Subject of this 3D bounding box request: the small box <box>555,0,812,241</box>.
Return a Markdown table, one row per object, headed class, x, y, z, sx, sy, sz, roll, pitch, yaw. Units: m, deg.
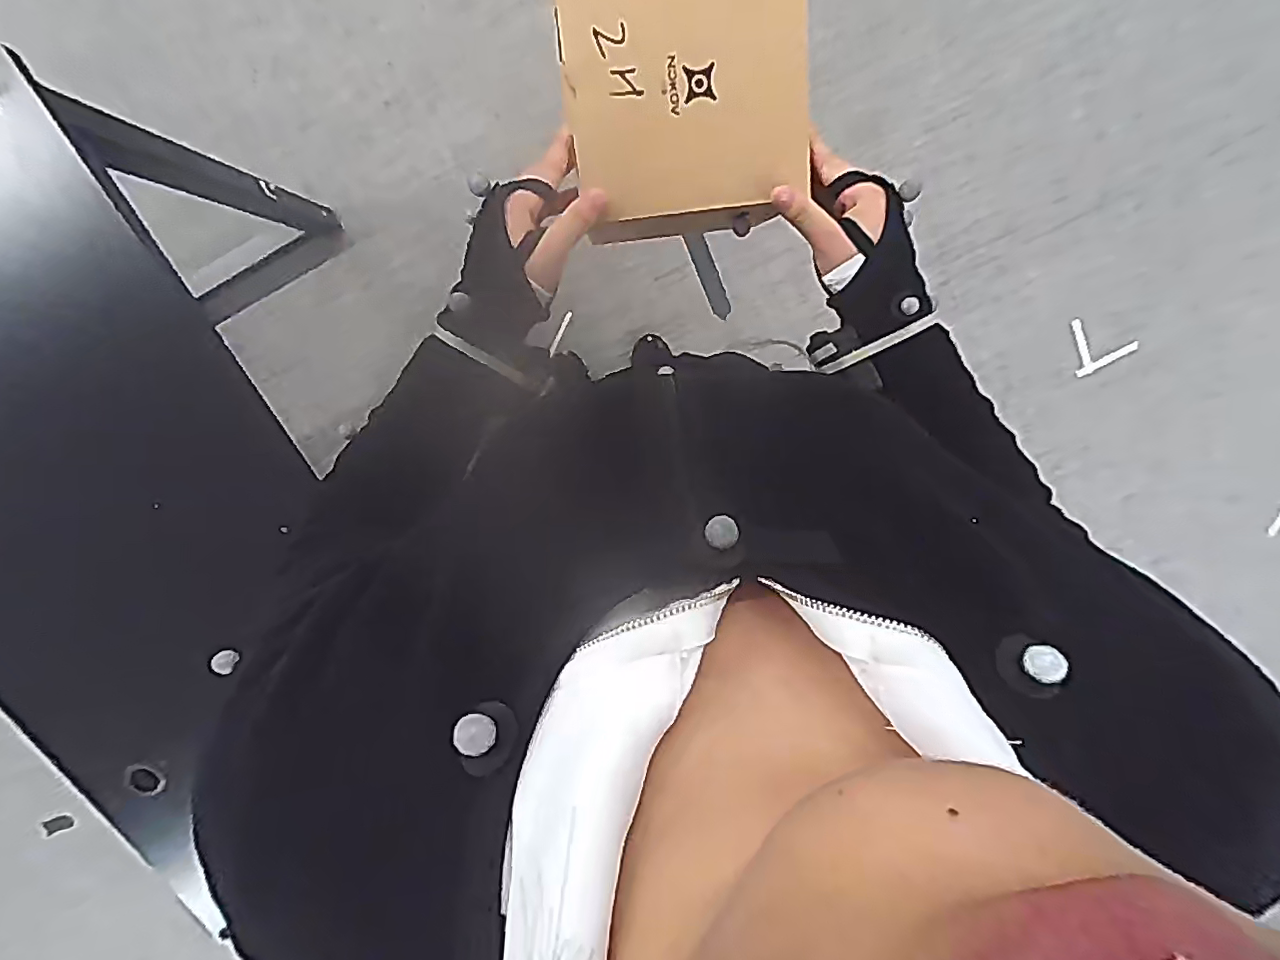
| class | x | y | z | sx | sy | sz | roll | pitch | yaw |
| --- | --- | --- | --- | --- | --- | --- | --- | --- | --- |
| small box | 0.031 | -0.305 | 0.457 | 0.179 | 0.176 | 0.168 | -7 | 108 | 1 |
